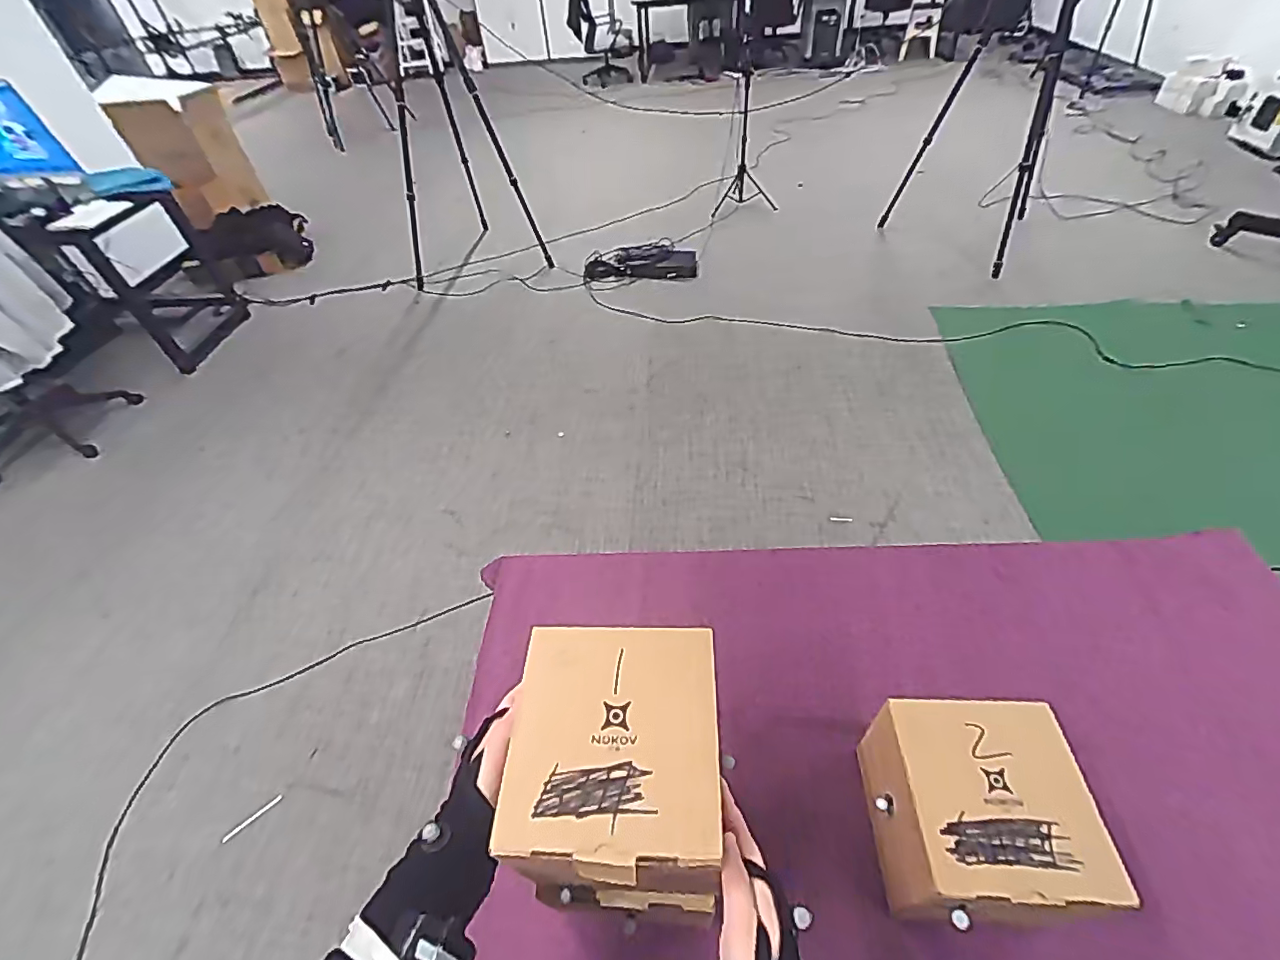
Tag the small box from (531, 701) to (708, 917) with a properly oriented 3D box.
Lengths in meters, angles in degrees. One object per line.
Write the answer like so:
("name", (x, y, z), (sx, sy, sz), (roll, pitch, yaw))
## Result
("small box", (-0.009, 0.368, 0.604), (0.168, 0.176, 0.179), (1, 48, 5))
